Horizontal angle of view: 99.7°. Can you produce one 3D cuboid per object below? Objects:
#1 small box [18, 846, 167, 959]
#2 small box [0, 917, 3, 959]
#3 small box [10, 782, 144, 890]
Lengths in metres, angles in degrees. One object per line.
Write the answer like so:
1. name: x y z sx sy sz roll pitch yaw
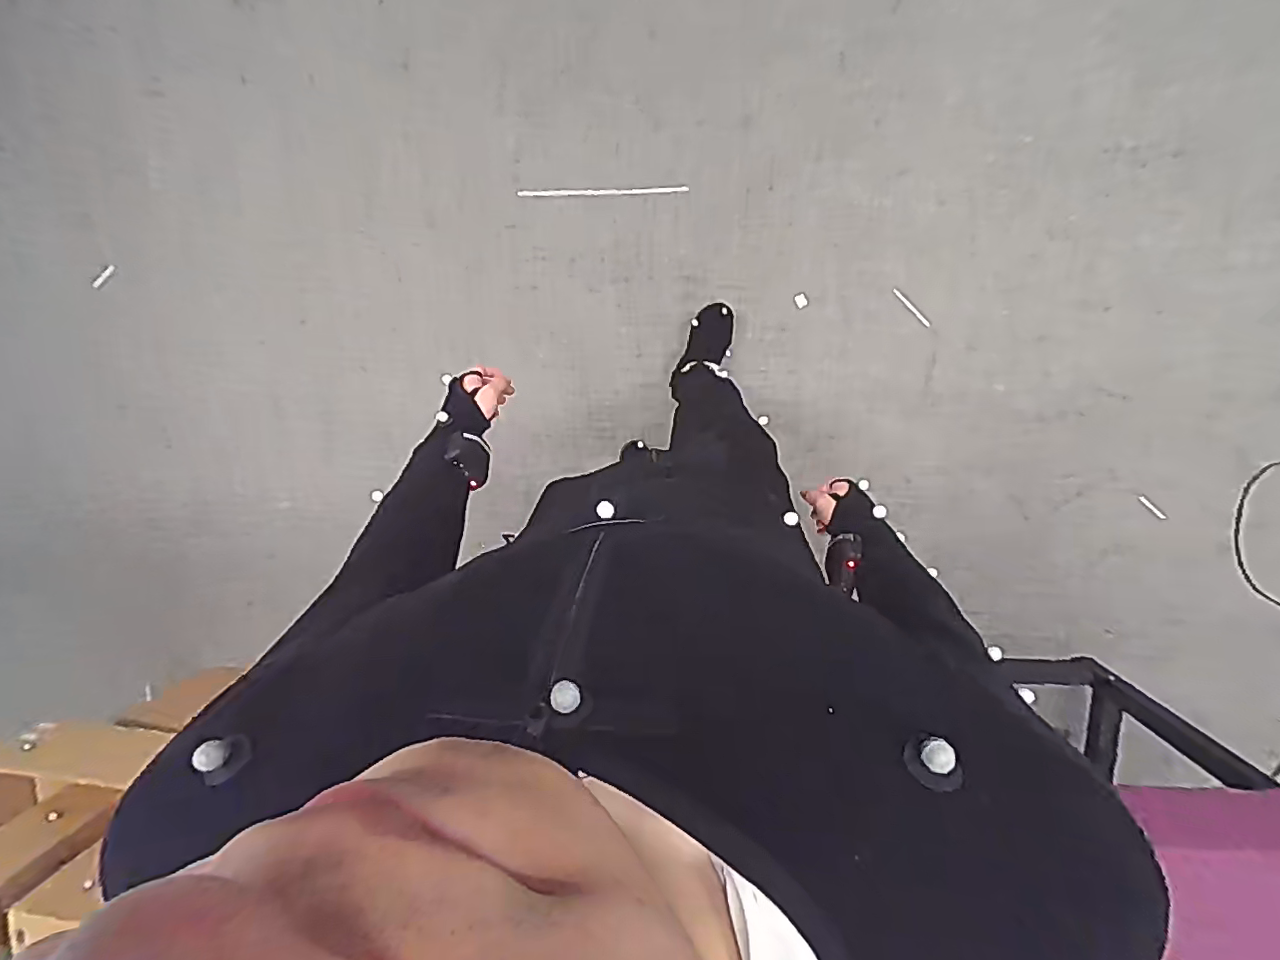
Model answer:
1. small box: -1.209 0.963 1.211 0.179 0.176 0.168 5 99 4
2. small box: -1.436 0.965 1.071 0.179 0.176 0.168 1 99 3
3. small box: -1.444 0.914 1.397 0.179 0.176 0.168 3 99 2
